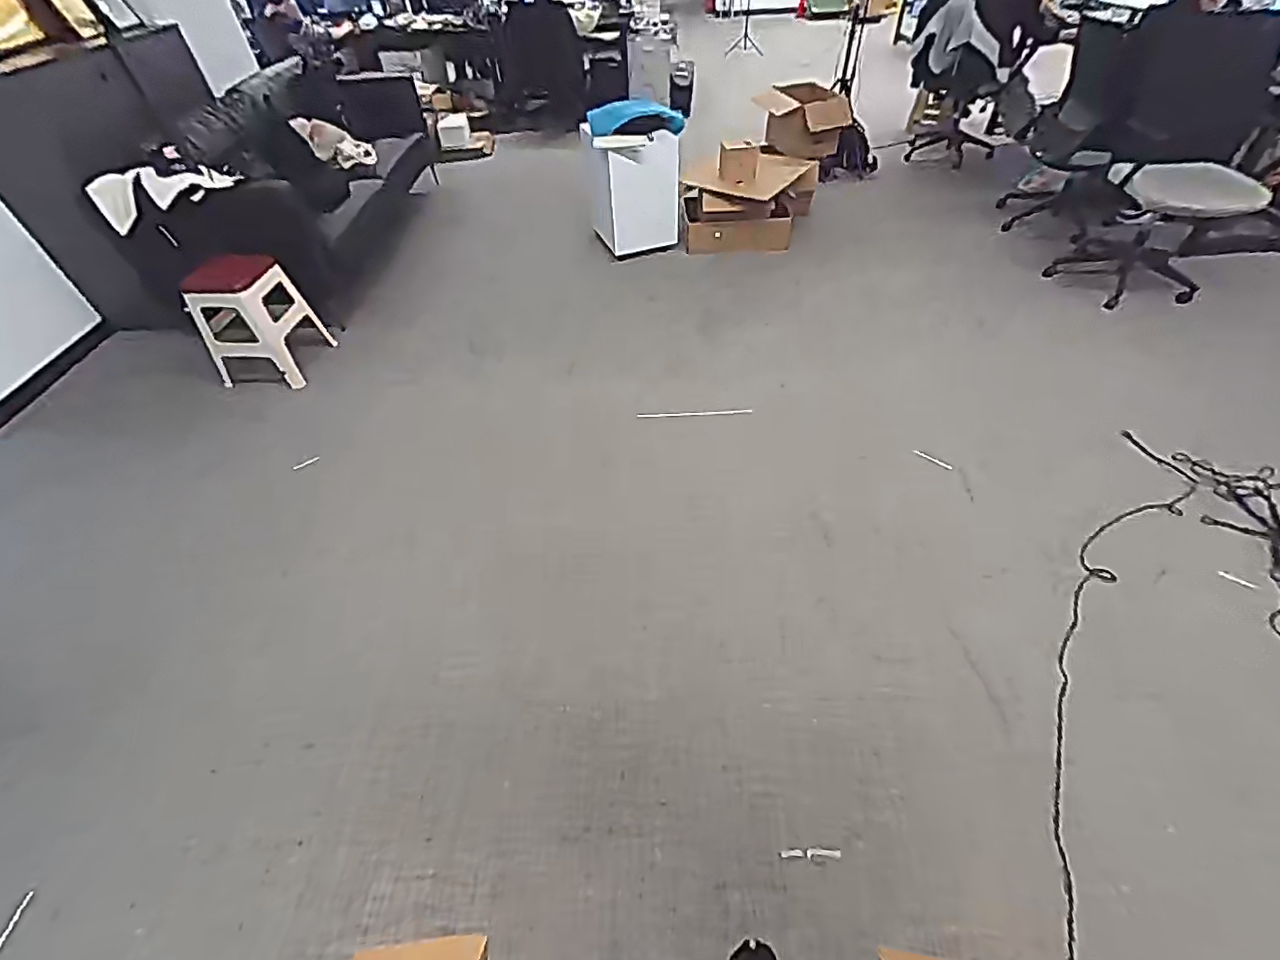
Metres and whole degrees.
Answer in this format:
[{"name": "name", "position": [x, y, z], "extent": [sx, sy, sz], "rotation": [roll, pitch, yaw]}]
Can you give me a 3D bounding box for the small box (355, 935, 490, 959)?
[{"name": "small box", "position": [-0.272, 0.668, 0.618], "extent": [0.168, 0.179, 0.176], "rotation": [-2, 72, -6]}]
